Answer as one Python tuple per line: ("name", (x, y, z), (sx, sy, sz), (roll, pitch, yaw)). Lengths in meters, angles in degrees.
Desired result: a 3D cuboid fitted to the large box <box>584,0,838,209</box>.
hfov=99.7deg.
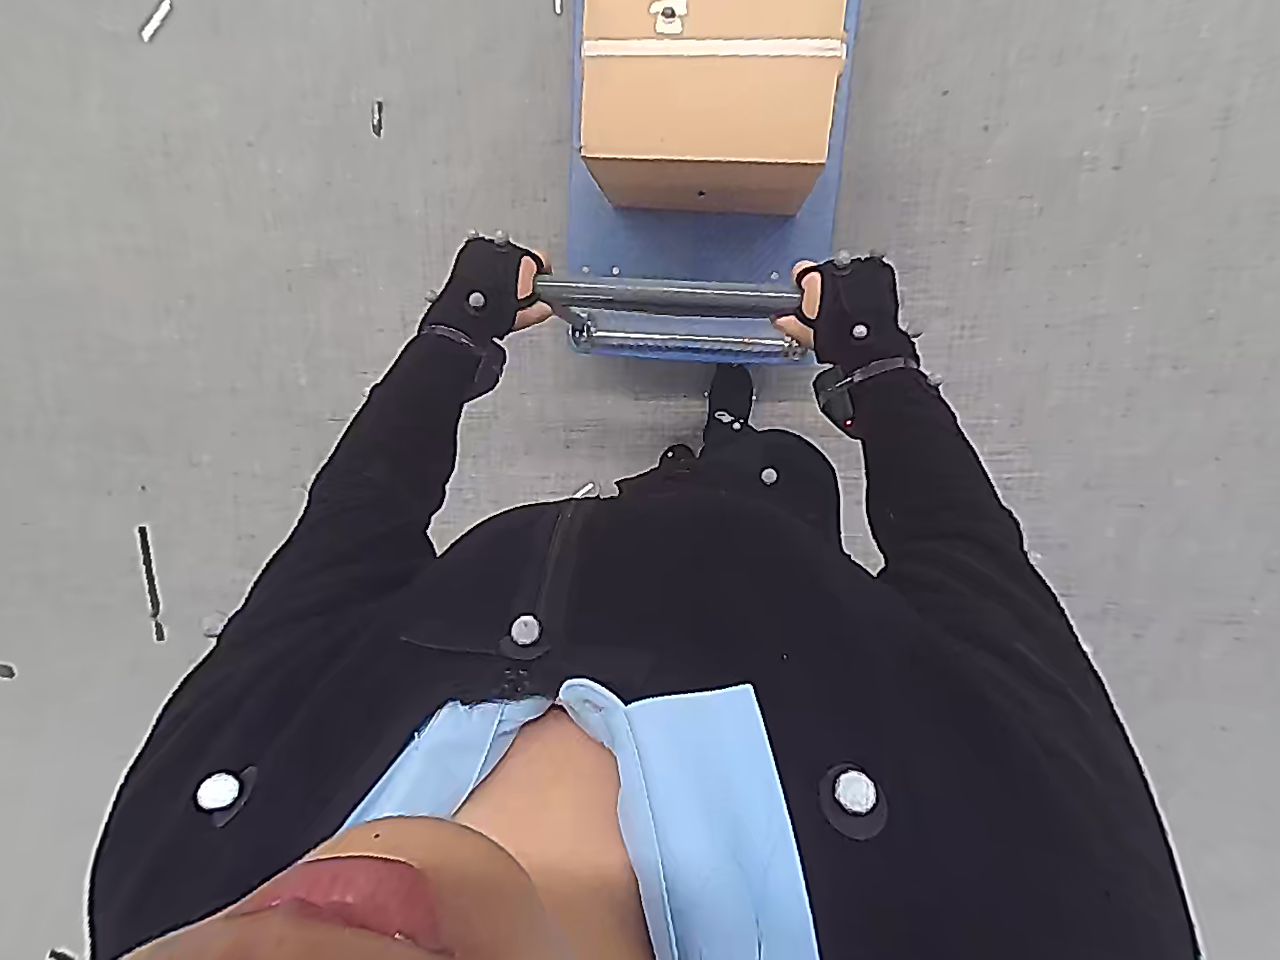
("large box", (0.130, -0.714, 1.017), (0.408, 0.320, 0.320), (5, 102, 7))
